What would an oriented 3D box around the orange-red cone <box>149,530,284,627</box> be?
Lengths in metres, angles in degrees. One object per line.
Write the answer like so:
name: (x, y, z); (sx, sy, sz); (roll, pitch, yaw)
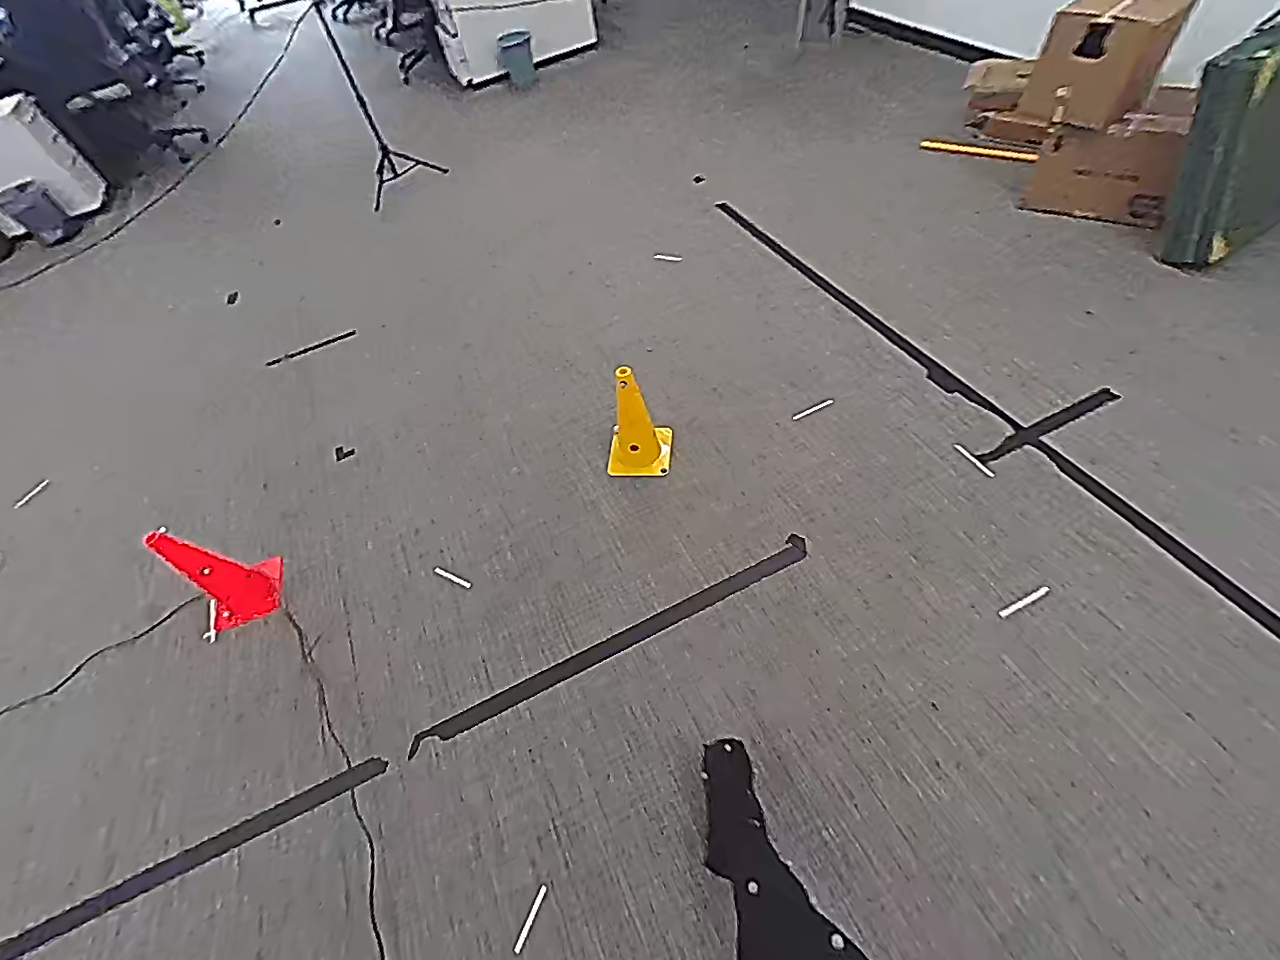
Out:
orange-red cone: (-1.232, 0.246, 1.544); (0.199, 0.360, 0.198); (-18, 54, -5)
